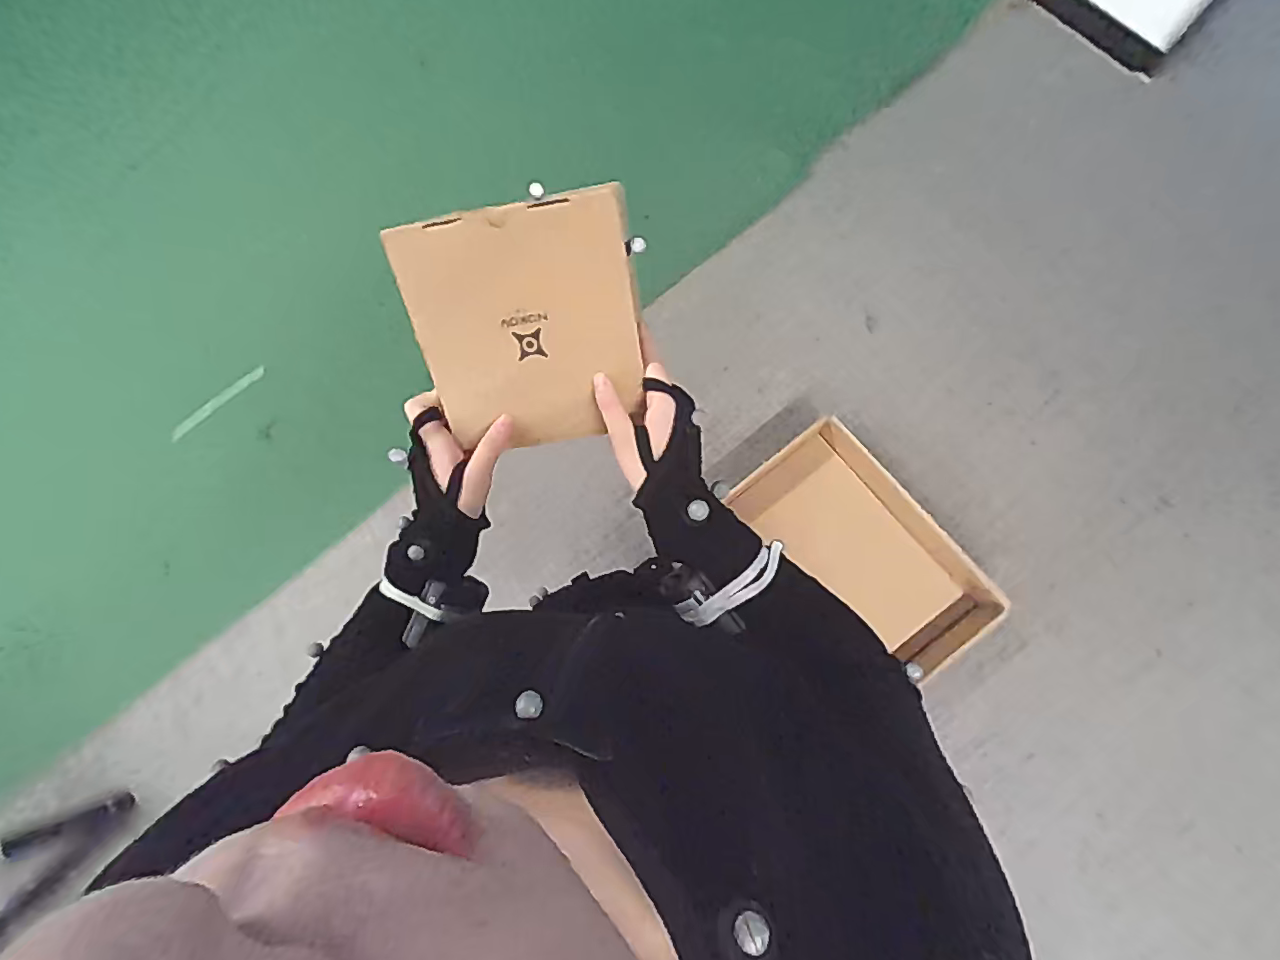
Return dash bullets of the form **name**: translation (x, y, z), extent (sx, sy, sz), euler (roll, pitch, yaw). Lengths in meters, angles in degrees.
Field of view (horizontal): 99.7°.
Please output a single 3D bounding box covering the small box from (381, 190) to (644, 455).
- **small box**: translation (-0.088, -0.145, 0.480), extent (0.168, 0.176, 0.179), euler (-9, 119, 4)
